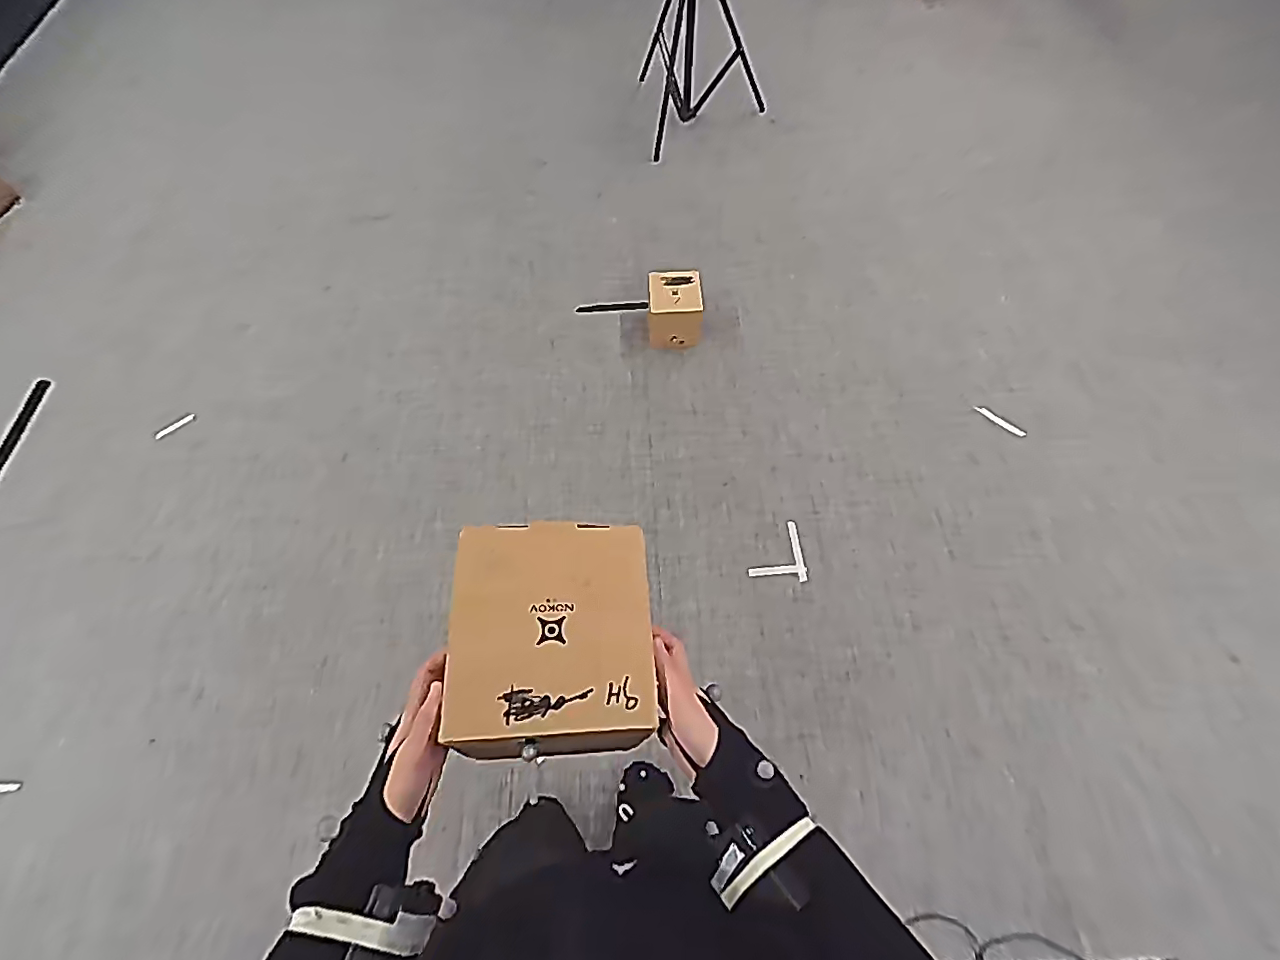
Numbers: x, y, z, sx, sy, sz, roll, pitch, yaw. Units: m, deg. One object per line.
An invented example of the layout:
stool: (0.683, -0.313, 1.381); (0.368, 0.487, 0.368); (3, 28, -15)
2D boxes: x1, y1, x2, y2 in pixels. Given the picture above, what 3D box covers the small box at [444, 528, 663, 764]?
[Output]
small box: (-0.079, 0.160, 0.513); (0.168, 0.176, 0.179); (0, 58, -9)
